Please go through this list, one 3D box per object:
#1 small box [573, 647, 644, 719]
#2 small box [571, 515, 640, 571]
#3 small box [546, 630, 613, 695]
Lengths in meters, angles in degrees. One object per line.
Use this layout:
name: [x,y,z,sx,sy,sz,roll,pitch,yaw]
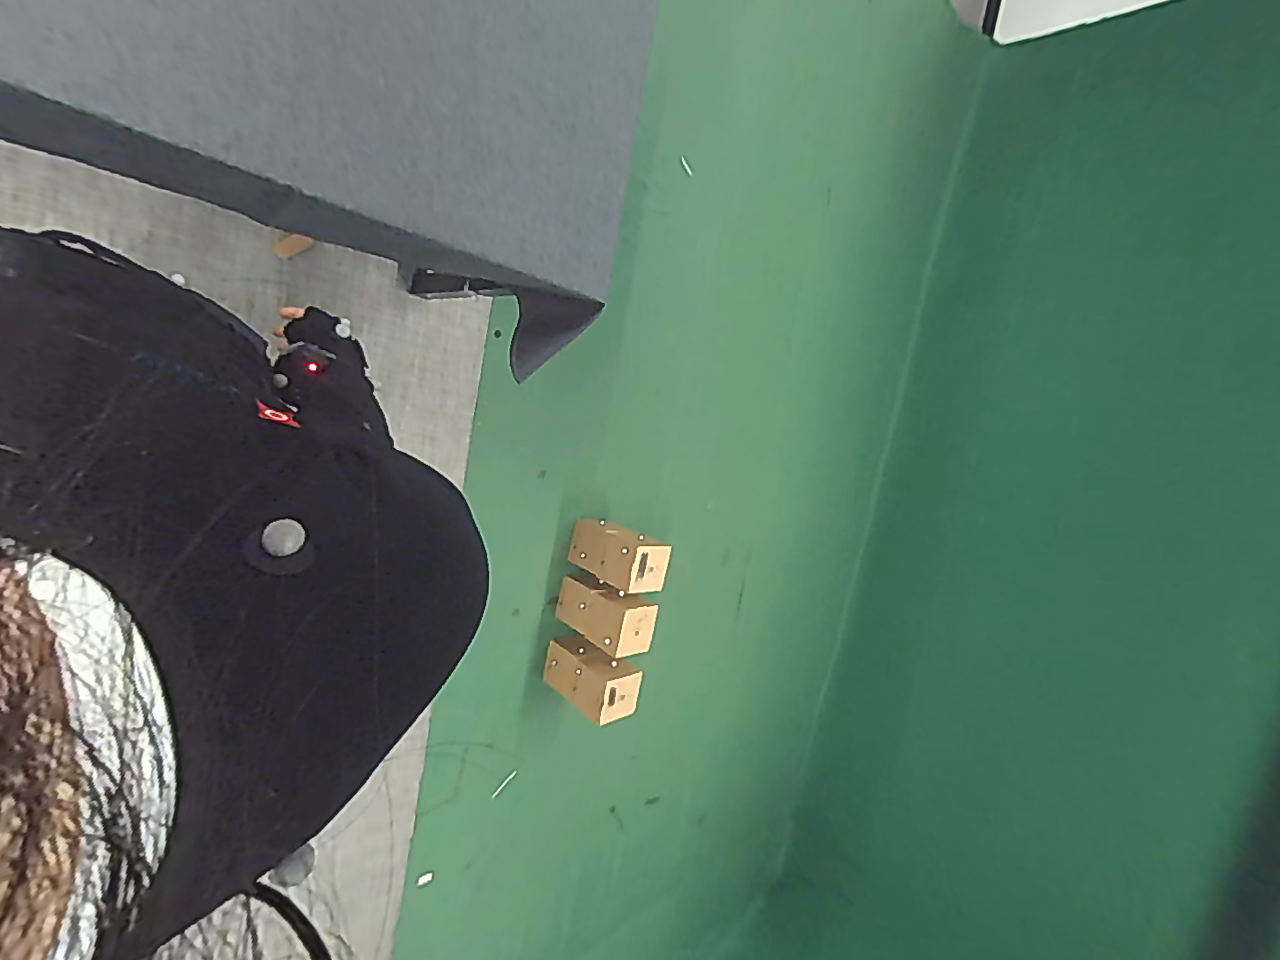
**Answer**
small box: [-0.117,0.722,1.940,0.179,0.176,0.168,3,101,-45]
small box: [-0.131,0.233,2.008,0.179,0.176,0.168,10,95,-46]
small box: [-0.229,0.686,2.055,0.179,0.176,0.168,4,100,-45]
